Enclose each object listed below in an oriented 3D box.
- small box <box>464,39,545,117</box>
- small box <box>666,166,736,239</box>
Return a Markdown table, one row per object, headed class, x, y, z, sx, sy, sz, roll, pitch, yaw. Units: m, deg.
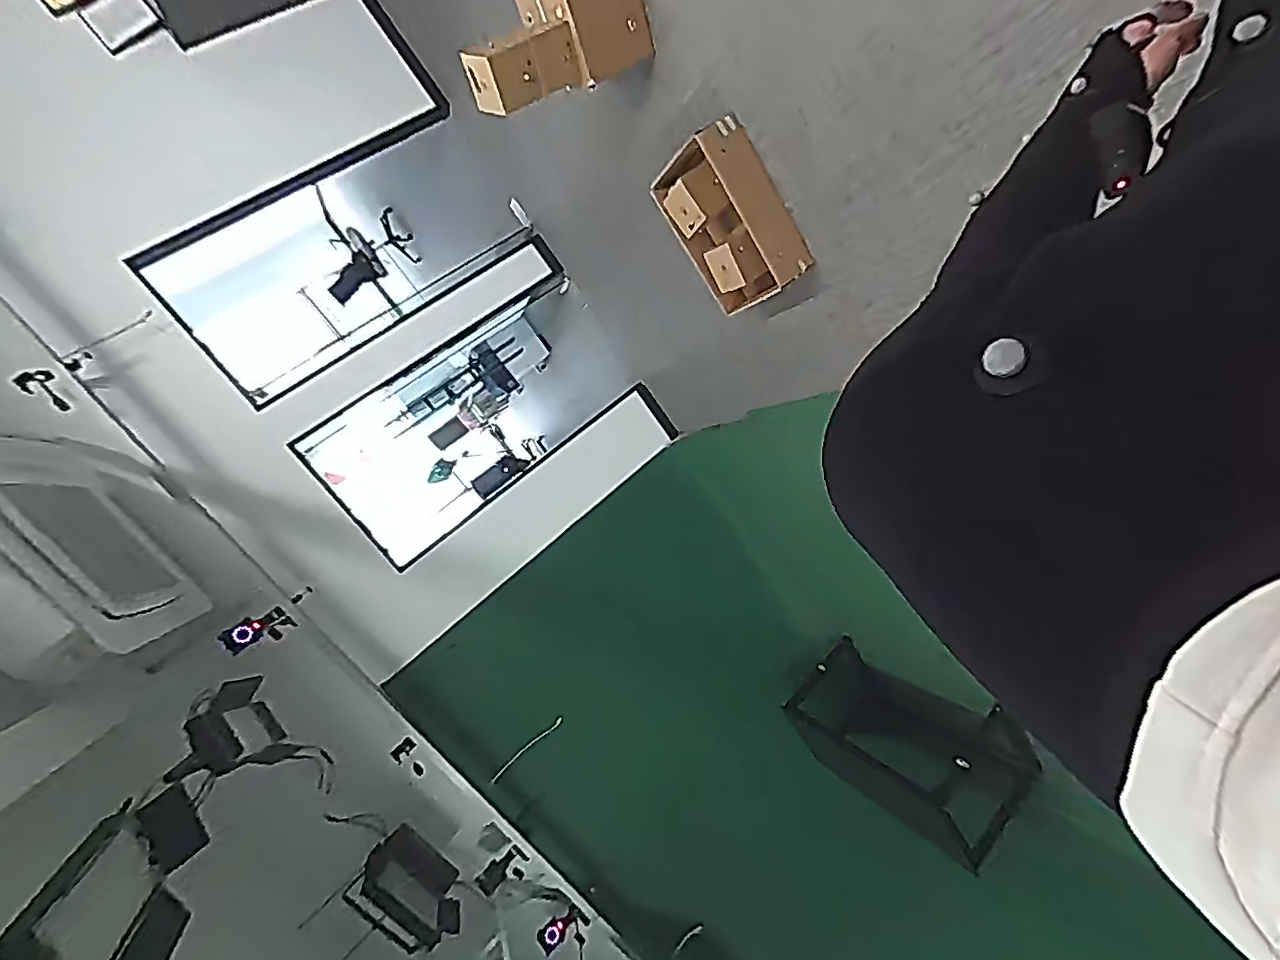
| class | x | y | z | sx | sy | sz | roll | pitch | yaw |
| --- | --- | --- | --- | --- | --- | --- | --- | --- | --- |
| small box | -0.451 | -1.356 | 1.819 | 0.179 | 0.176 | 0.168 | 36 | 158 | 33 |
| small box | 0.237 | -1.085 | 2.104 | 0.179 | 0.176 | 0.168 | 53 | 162 | -9 |
